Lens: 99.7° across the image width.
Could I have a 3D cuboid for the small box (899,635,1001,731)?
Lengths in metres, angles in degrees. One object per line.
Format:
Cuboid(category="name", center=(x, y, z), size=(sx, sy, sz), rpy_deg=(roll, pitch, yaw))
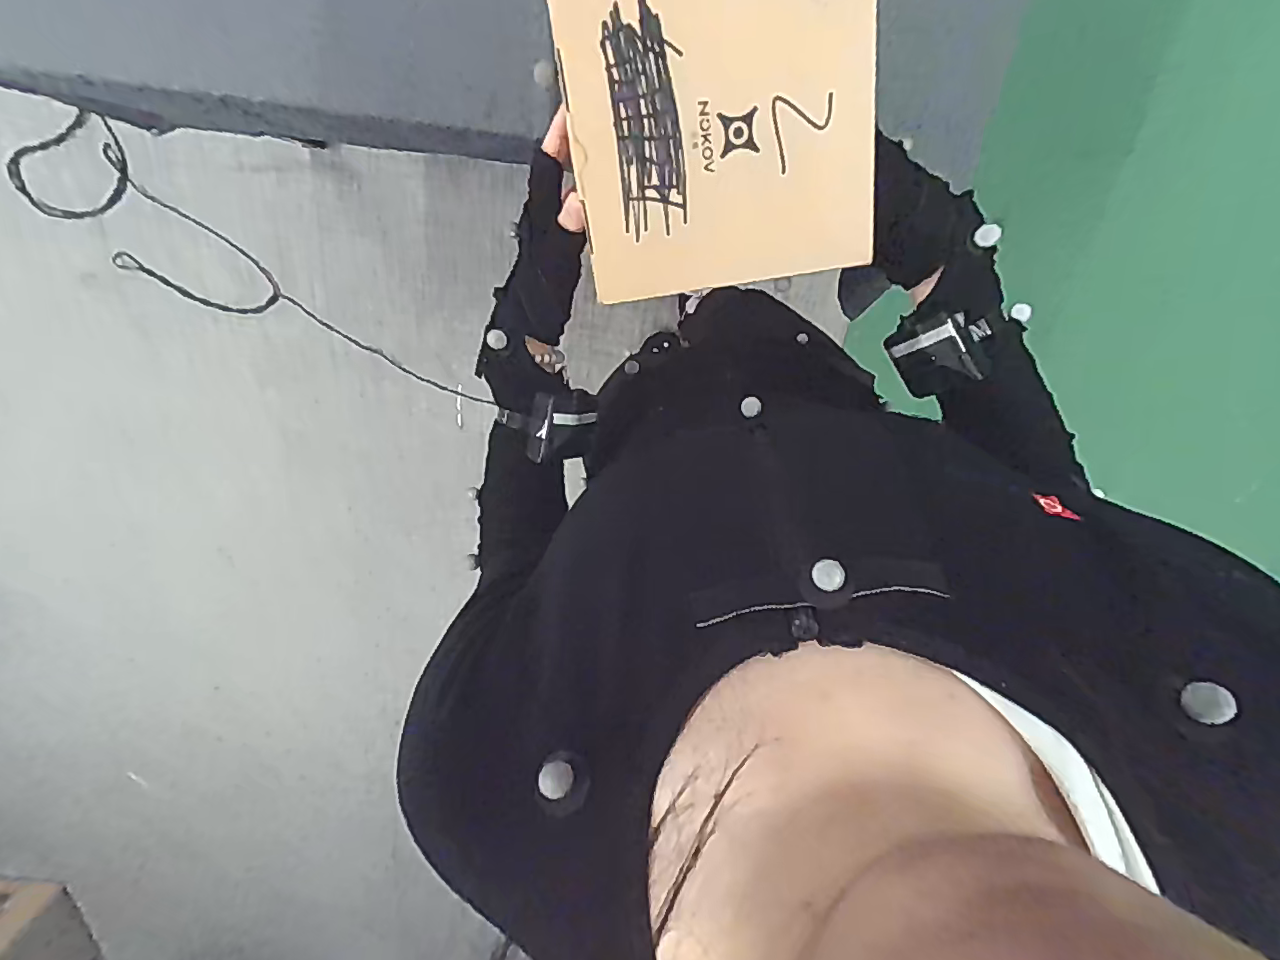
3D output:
Cuboid(category="small box", center=(0.856, 0.567, 1.516), size=(0.168, 0.176, 0.179), rpy_deg=(8, 114, -2))
